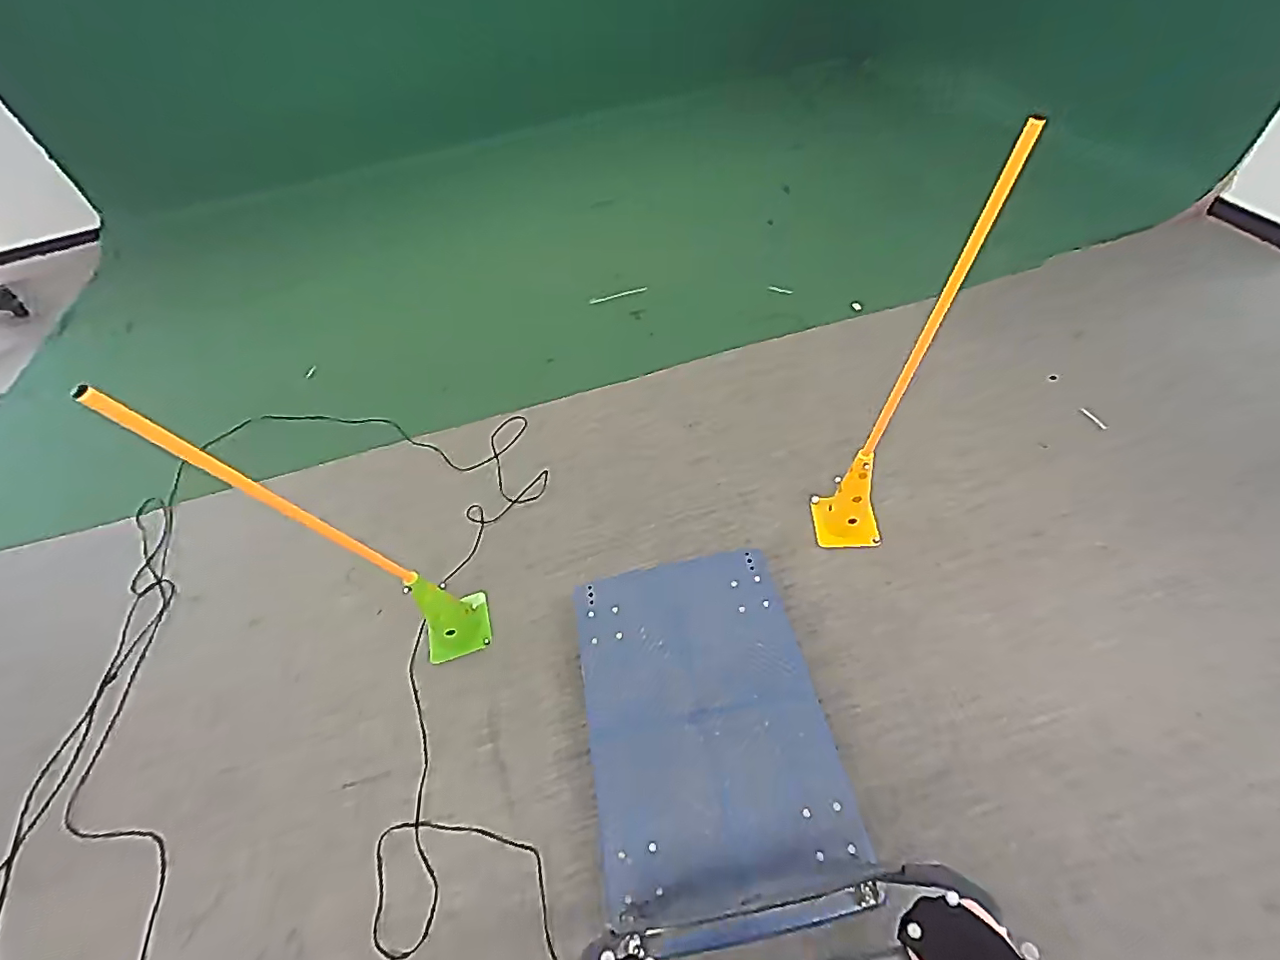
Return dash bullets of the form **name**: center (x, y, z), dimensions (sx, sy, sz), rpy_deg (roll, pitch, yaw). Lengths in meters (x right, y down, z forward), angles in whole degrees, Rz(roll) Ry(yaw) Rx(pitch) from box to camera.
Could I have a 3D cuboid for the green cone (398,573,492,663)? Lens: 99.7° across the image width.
- **green cone**: center (-0.615, 0.373, 1.627), dimensions (0.202, 0.368, 0.200), rpy_deg (-20, 52, -5)
